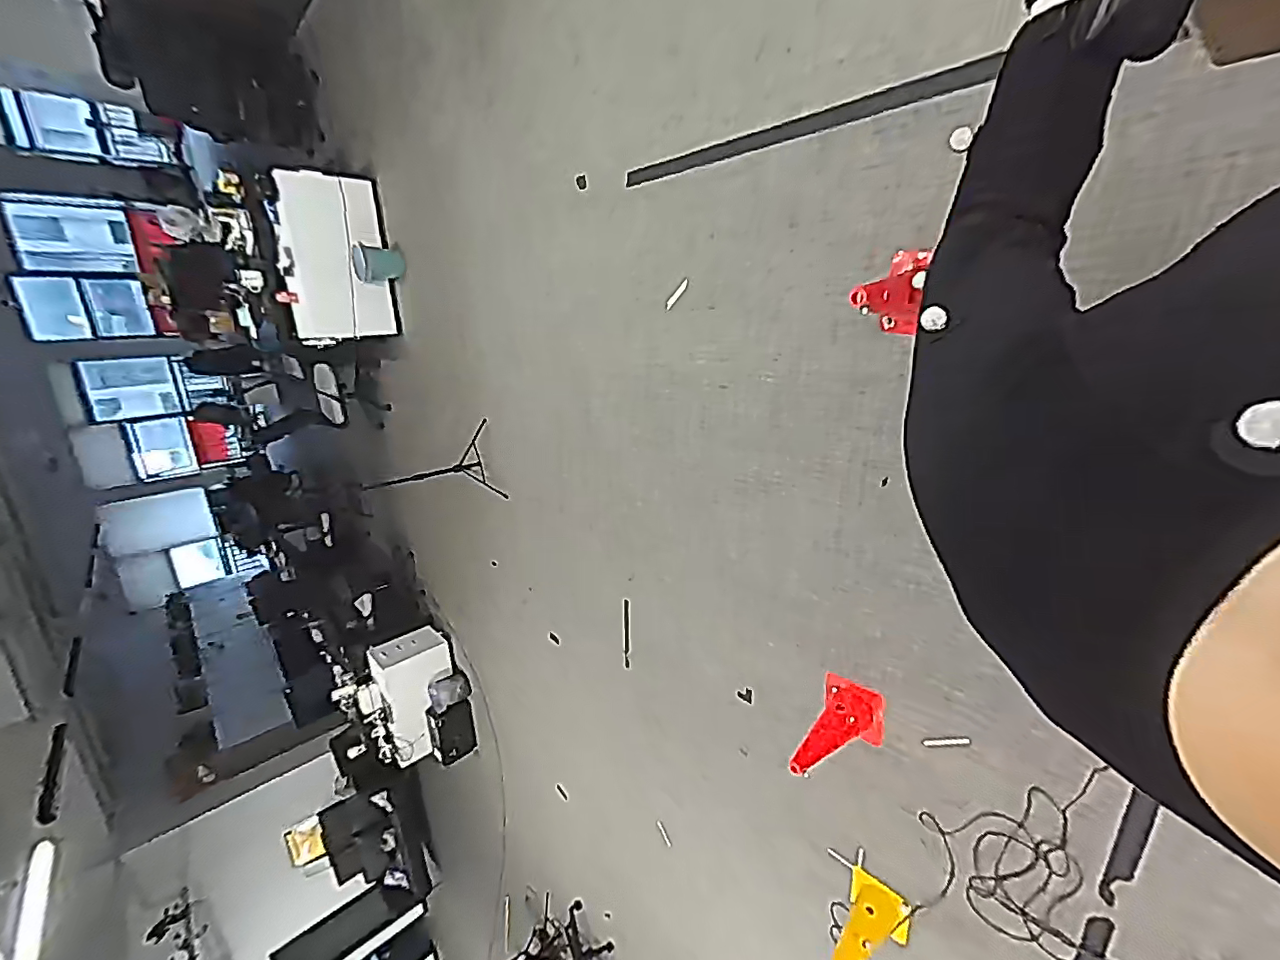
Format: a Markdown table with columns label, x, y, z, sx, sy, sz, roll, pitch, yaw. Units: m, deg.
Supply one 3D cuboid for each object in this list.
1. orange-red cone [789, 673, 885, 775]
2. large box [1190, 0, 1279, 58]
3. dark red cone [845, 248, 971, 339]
| label | x | y | z | sx | sy | sz | roll | pitch | yaw |
| --- | --- | --- | --- | --- | --- | --- | --- | --- | --- |
| orange-red cone | 0.579 | 0.797 | 1.676 | 0.198 | 0.360 | 0.199 | 14 | 115 | 47 |
| large box | 0.551 | -0.453 | 0.228 | 0.408 | 0.320 | 0.320 | 18 | 121 | 45 |
| dark red cone | 0.566 | -0.419 | 1.215 | 0.201 | 0.394 | 0.202 | 23 | 120 | 42 |
